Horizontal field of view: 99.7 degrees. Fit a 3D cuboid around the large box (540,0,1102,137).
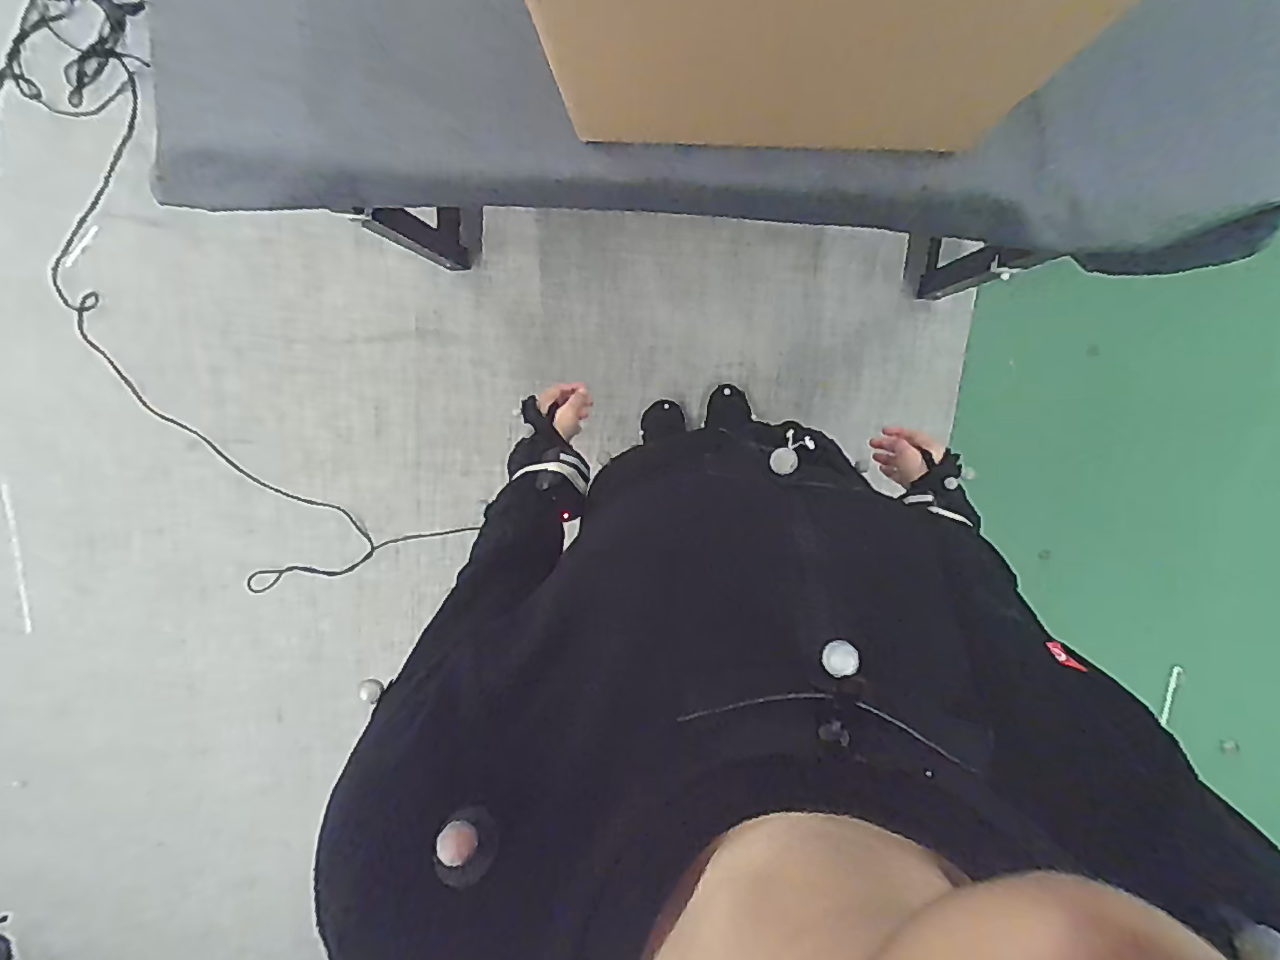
[{"bbox_3d":[0.129,-0.489,0.400,0.408,0.320,0.320,3,100,2],"label":"large box"}]
